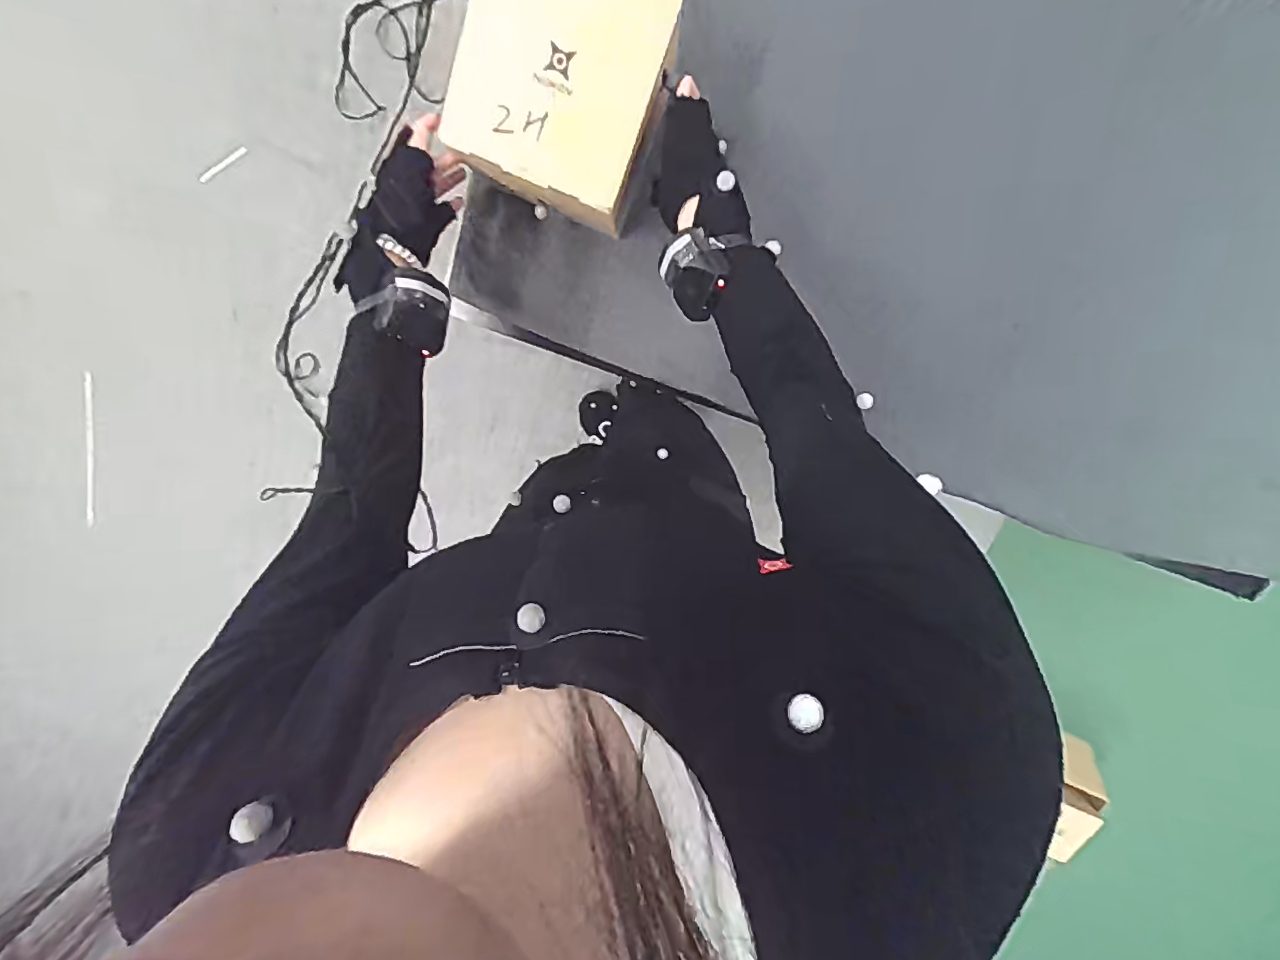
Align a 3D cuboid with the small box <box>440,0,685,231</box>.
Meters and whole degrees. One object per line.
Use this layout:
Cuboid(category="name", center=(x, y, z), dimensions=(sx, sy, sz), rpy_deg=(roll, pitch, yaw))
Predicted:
Cuboid(category="small box", center=(-0.068, -0.372, 0.532), dimensions=(0.168, 0.176, 0.179), rpy_deg=(20, 106, -5))
